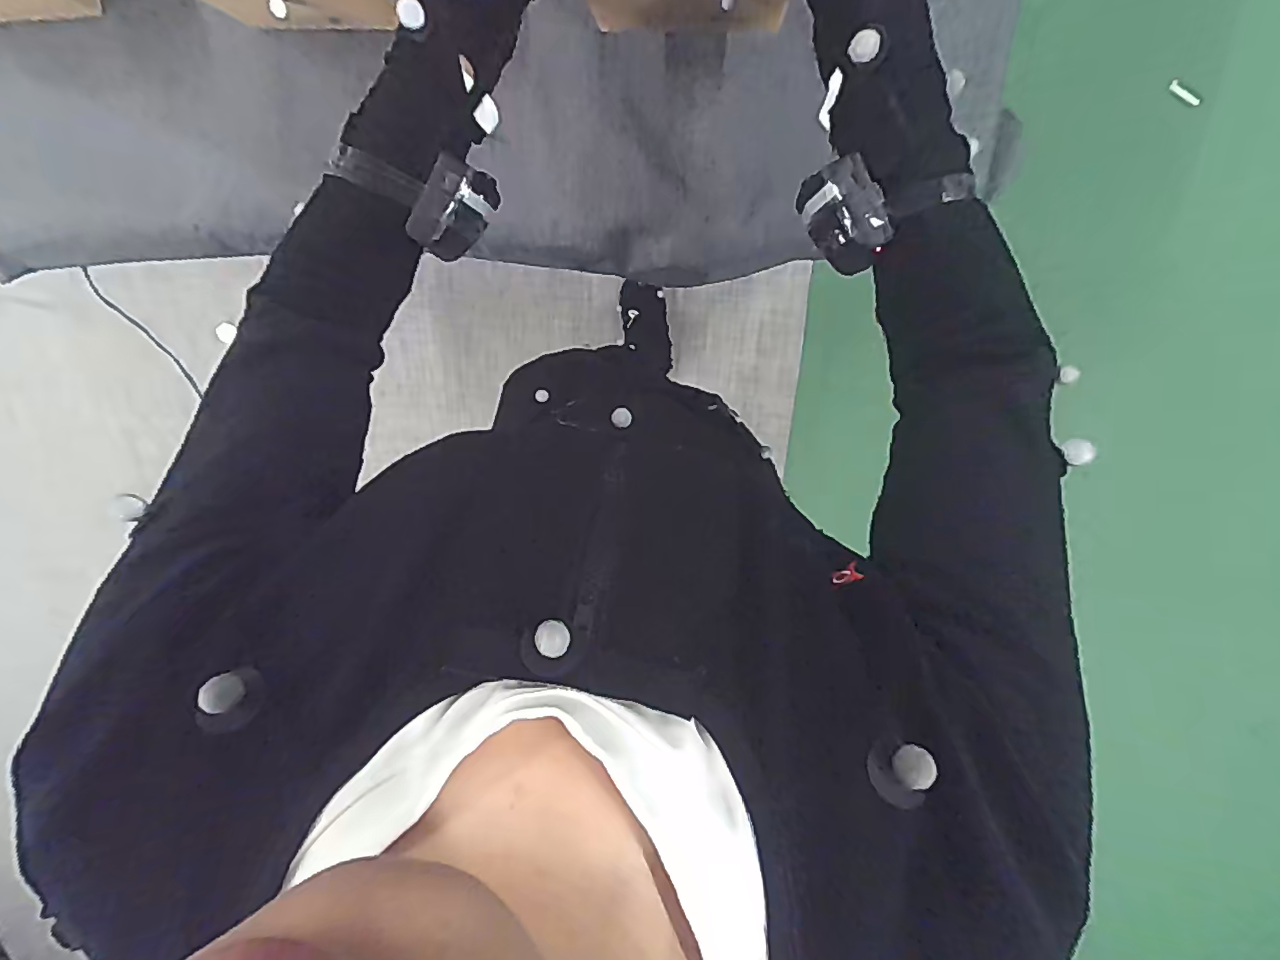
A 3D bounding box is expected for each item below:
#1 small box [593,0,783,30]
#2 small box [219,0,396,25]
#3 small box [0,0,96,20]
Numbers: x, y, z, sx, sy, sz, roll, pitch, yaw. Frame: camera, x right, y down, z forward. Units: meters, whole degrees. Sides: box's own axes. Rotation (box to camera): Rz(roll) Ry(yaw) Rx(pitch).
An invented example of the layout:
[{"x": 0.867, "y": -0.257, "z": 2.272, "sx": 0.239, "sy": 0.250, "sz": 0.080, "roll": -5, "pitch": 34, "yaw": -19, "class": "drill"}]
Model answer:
[{"x": 0.038, "y": -0.461, "z": 0.390, "sx": 0.168, "sy": 0.176, "sz": 0.179, "roll": 4, "pitch": 110, "yaw": 4, "class": "small box"}, {"x": -0.333, "y": -0.526, "z": 0.464, "sx": 0.168, "sy": 0.176, "sz": 0.179, "roll": 3, "pitch": 111, "yaw": 4, "class": "small box"}, {"x": -0.663, "y": -0.546, "z": 0.483, "sx": 0.179, "sy": 0.176, "sz": 0.168, "roll": 0, "pitch": 111, "yaw": 4, "class": "small box"}]
